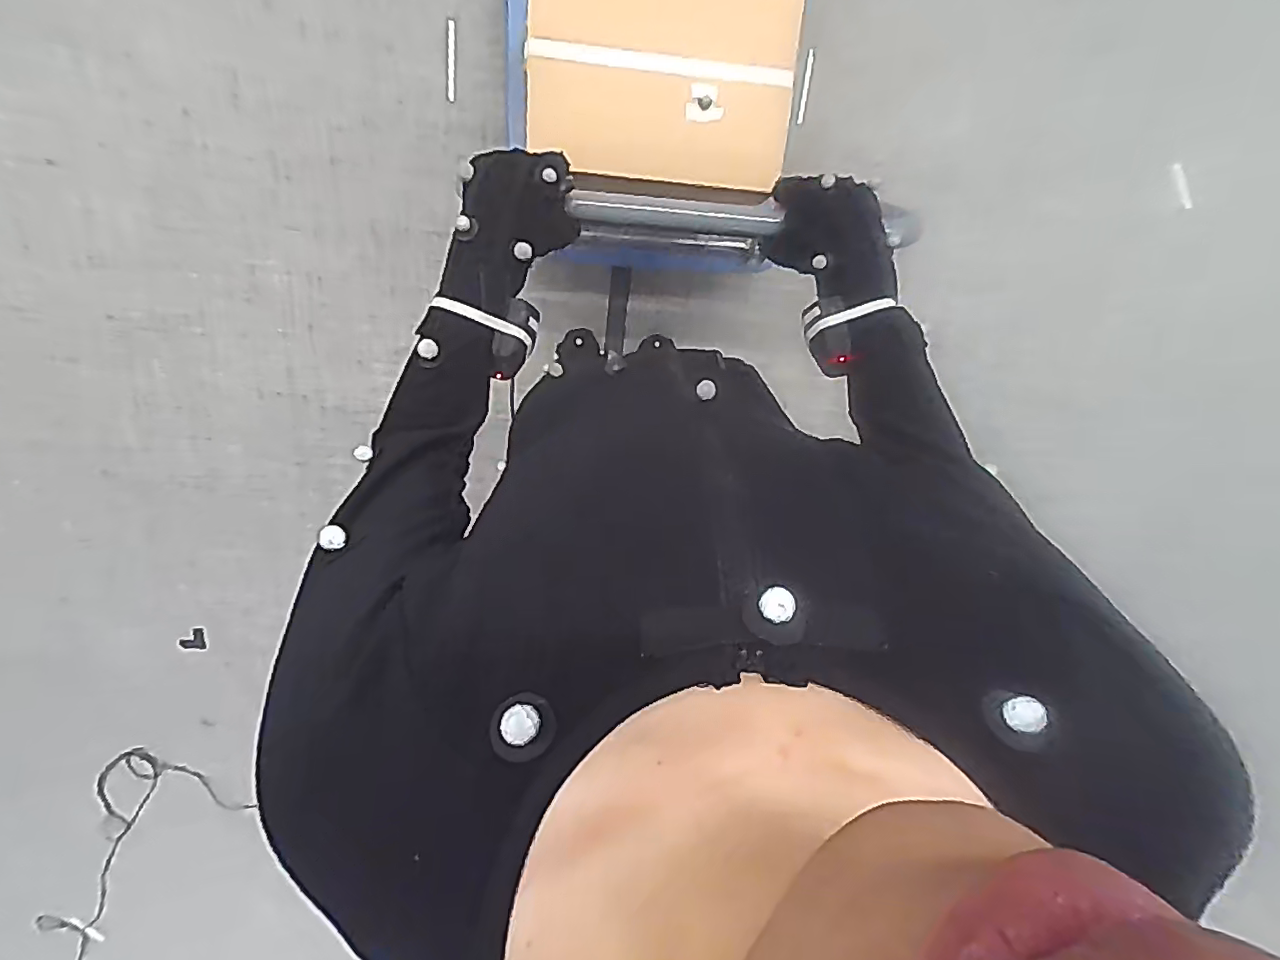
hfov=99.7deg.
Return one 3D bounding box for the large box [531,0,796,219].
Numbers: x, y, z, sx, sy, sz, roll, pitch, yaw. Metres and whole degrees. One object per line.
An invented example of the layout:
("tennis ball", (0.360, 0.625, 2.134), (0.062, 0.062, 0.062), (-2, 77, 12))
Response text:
("large box", (0.018, -0.675, 0.970), (0.408, 0.320, 0.320), (2, 107, -7))
